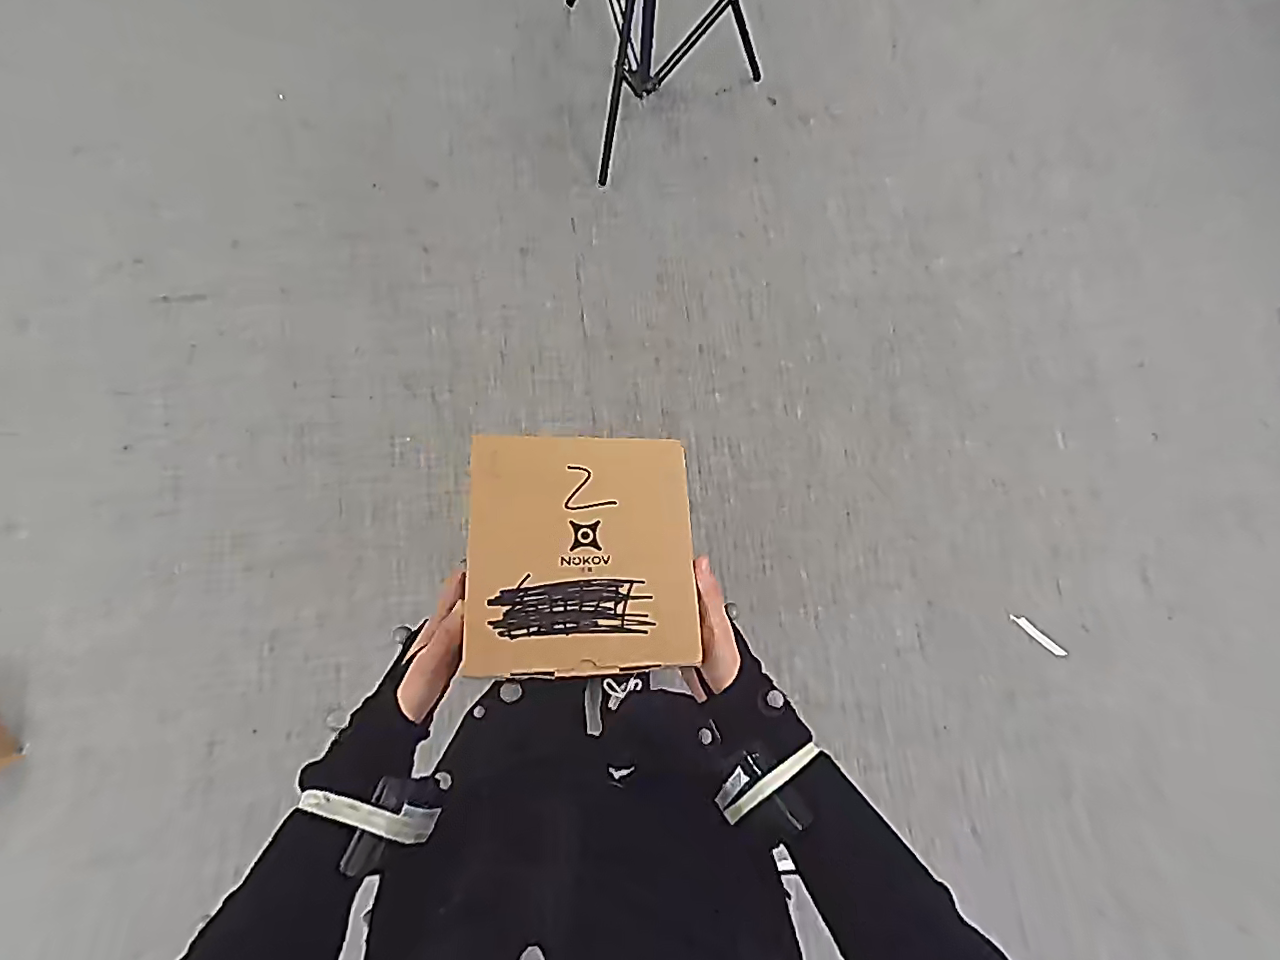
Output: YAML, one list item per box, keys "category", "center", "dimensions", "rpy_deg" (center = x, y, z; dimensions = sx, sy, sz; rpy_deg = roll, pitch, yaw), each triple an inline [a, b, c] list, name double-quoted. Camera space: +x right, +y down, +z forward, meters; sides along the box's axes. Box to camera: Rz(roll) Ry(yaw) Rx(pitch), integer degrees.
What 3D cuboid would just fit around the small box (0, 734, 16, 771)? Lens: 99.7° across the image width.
- category: "small box"
  center: [-1.496, 0.597, 1.126]
  dimensions: [0.168, 0.176, 0.179]
  rpy_deg: [-43, 84, -10]
